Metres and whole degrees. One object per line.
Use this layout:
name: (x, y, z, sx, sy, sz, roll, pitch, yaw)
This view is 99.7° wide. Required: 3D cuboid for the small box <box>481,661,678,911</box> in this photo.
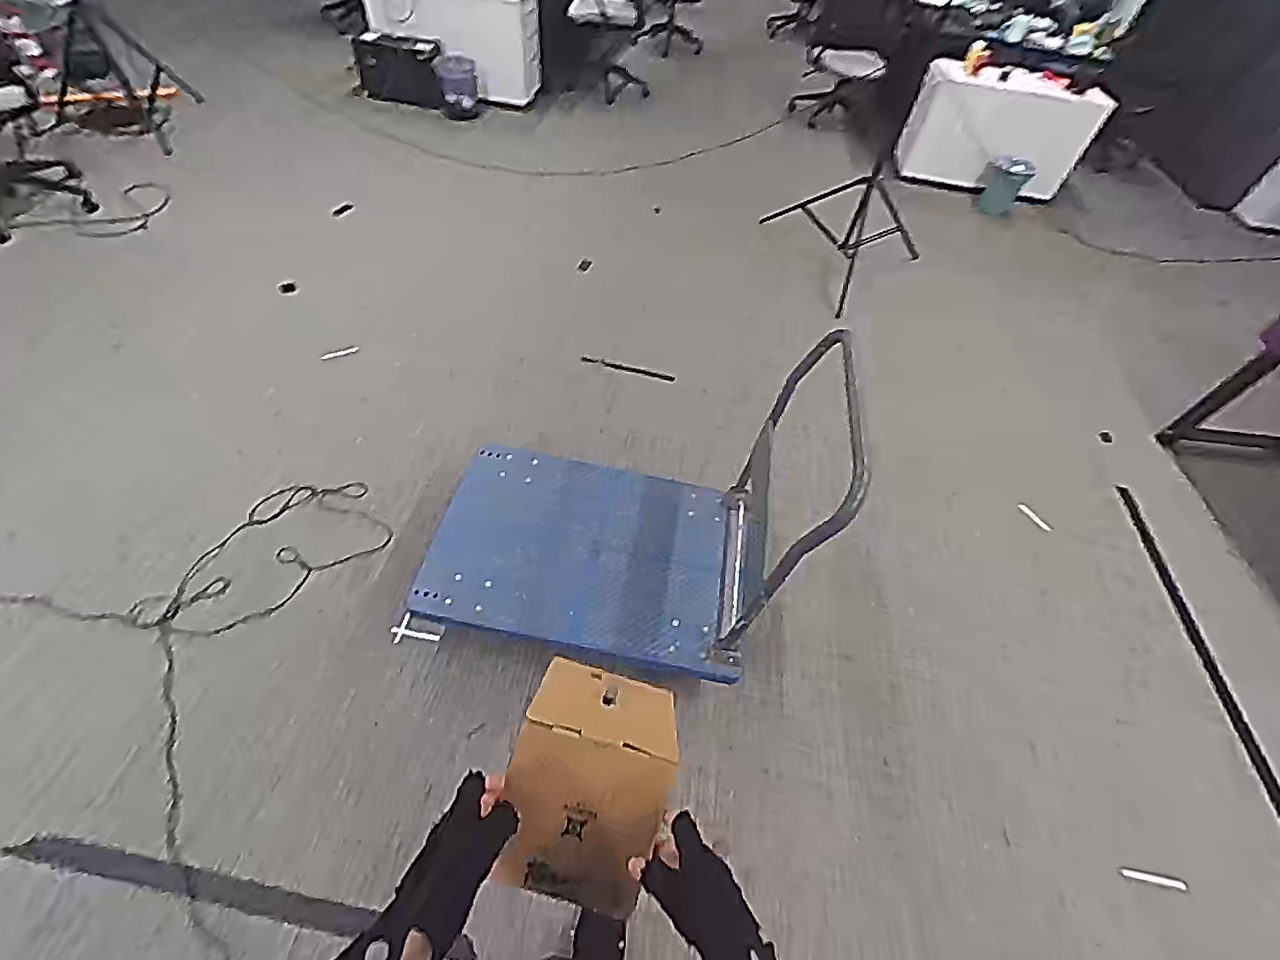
small box: (-0.063, 0.336, 0.632, 0.168, 0.176, 0.179, 16, 91, 0)
